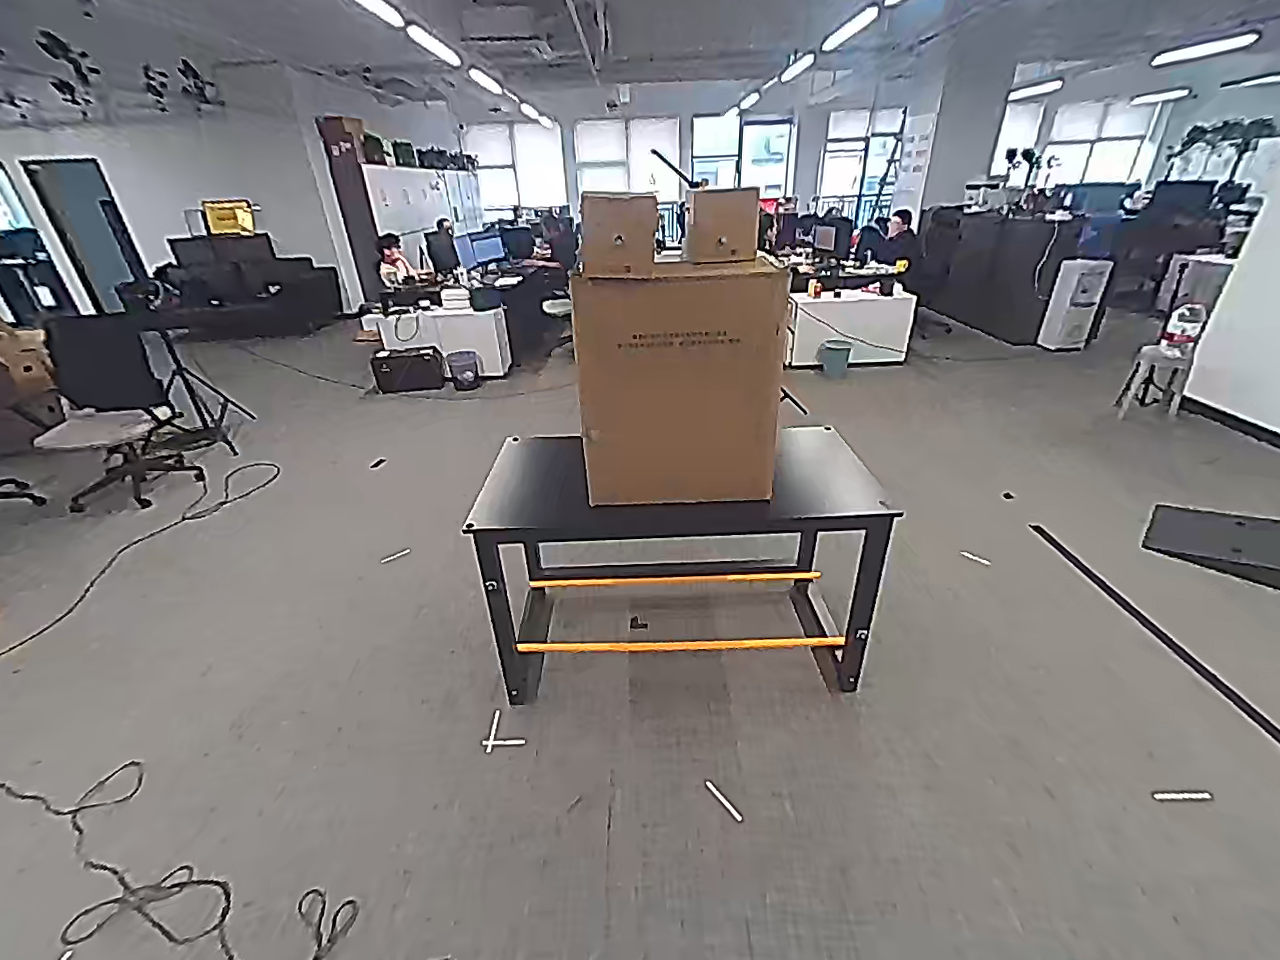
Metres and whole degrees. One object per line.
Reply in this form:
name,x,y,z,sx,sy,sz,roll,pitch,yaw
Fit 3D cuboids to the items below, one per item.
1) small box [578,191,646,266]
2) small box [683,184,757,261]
small box,-0.071,-0.665,1.429,0.168,0.176,0.179,-3,29,-1
small box,0.202,-0.674,1.417,0.168,0.176,0.179,-4,28,0
